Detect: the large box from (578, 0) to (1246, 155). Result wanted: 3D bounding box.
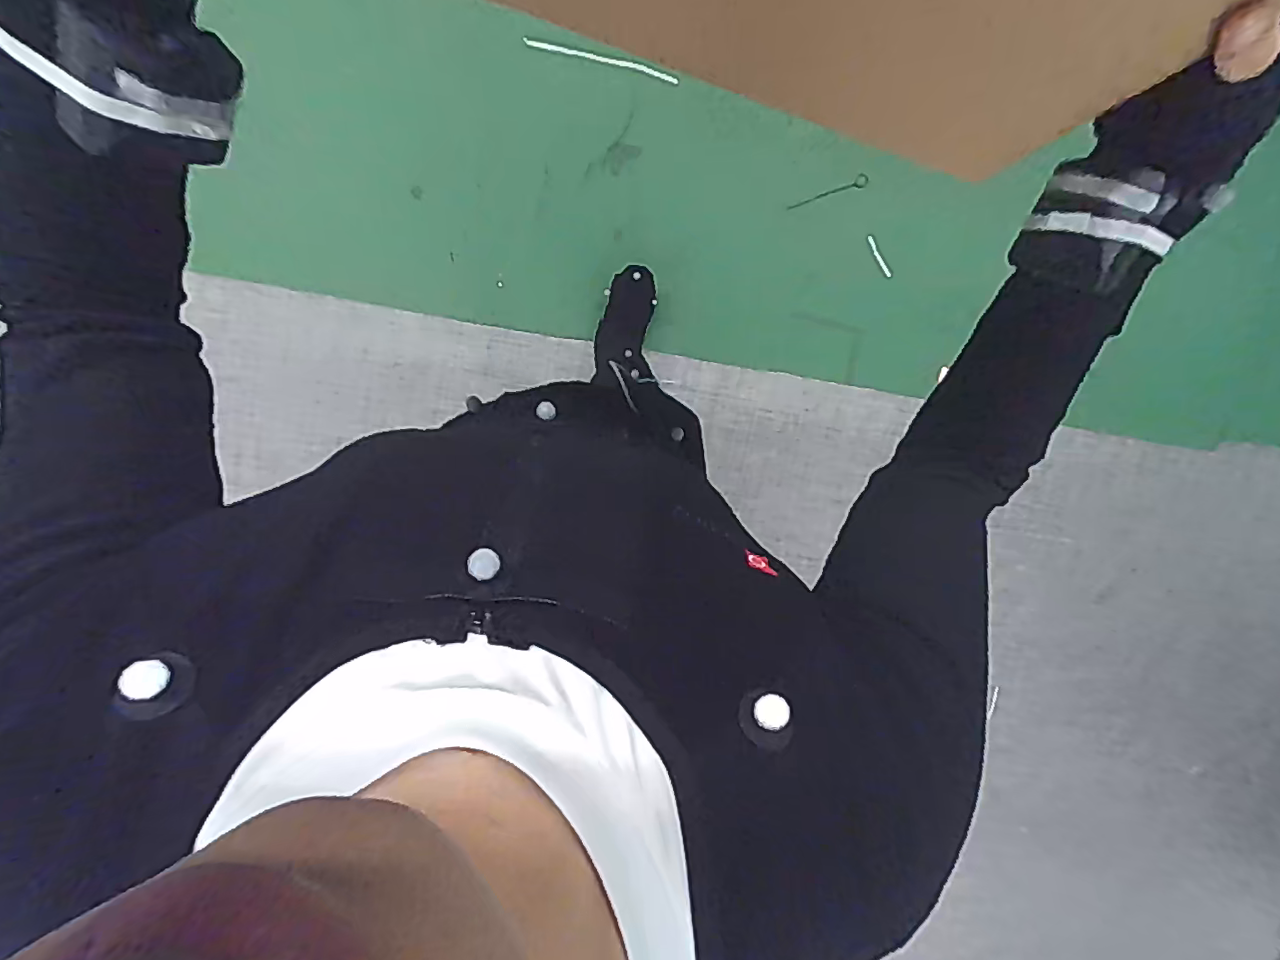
[{"bbox_3d":[0.097,-0.369,0.146,0.408,0.320,0.320,6,90,-20],"label":"large box"}]
